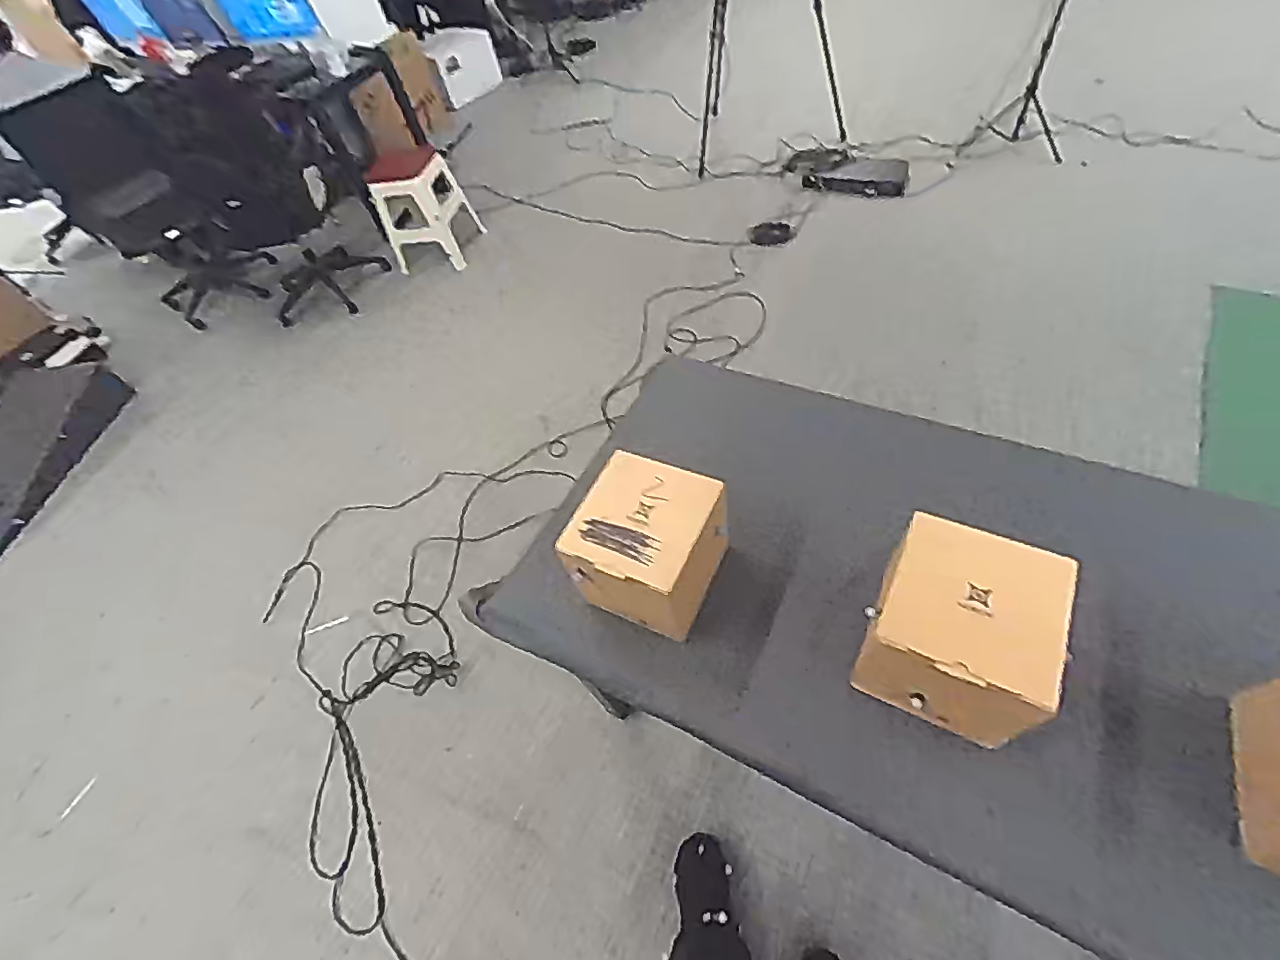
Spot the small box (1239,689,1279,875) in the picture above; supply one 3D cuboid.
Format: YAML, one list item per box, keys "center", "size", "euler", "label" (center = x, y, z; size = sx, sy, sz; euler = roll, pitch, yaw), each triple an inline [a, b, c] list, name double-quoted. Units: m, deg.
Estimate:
- center: [0.698, 0.288, 0.483]
  size: [0.168, 0.176, 0.179]
  euler: [17, 59, 24]
  label: "small box"

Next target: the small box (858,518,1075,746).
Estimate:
- center: [0.372, 0.180, 0.639]
  size: [0.168, 0.176, 0.179]
  euler: [19, 60, 24]
  label: "small box"
